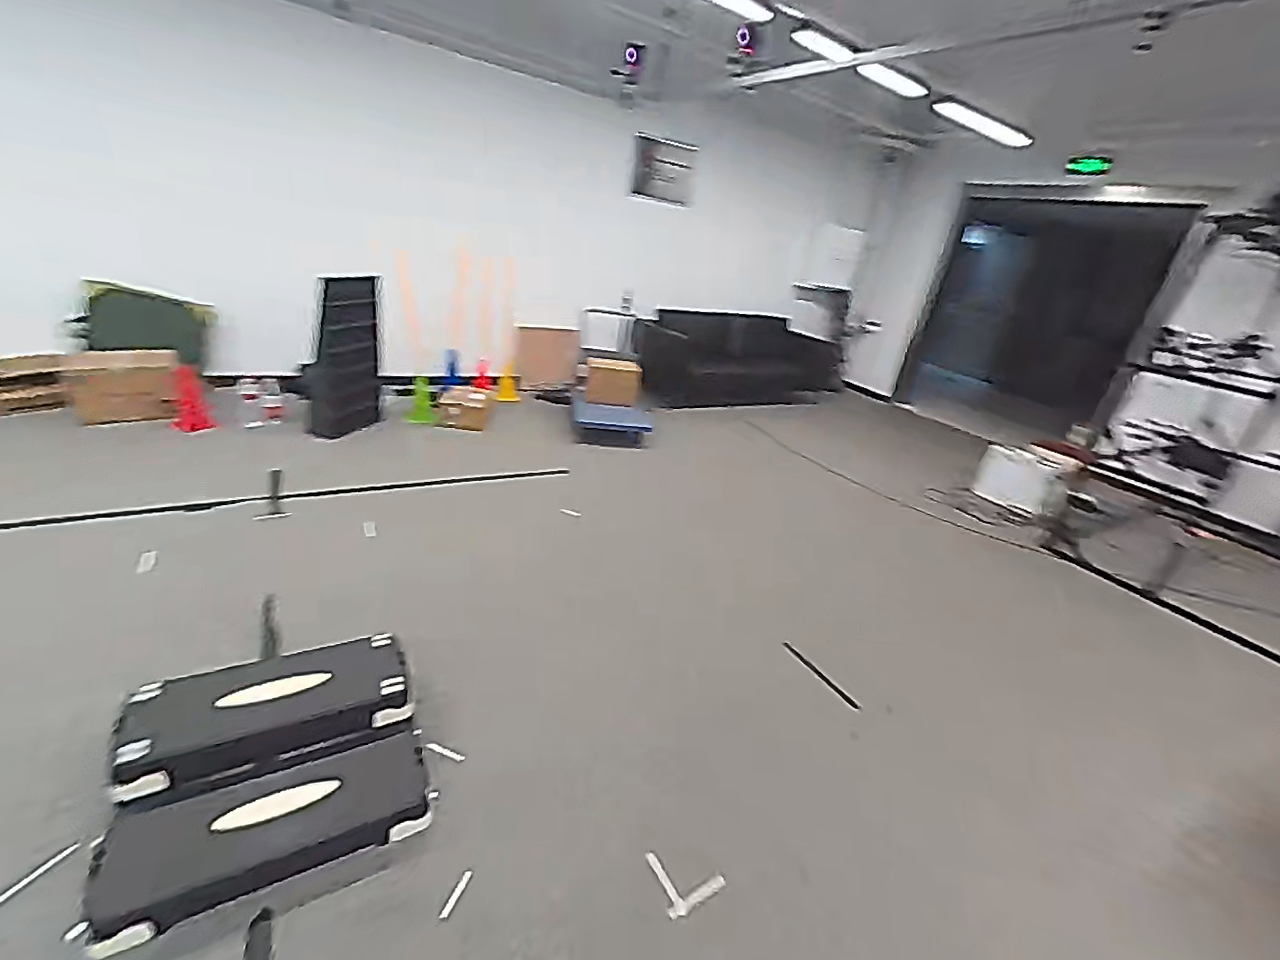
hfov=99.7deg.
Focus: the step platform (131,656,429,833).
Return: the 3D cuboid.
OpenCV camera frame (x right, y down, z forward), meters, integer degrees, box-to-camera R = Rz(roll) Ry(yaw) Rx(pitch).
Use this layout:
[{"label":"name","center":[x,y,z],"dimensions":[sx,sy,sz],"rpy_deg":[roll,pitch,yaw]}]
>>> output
[{"label":"step platform","center":[-0.966,0.711,1.528],"dimensions":[0.684,0.204,0.286],"rpy_deg":[-2,25,-27]}]
